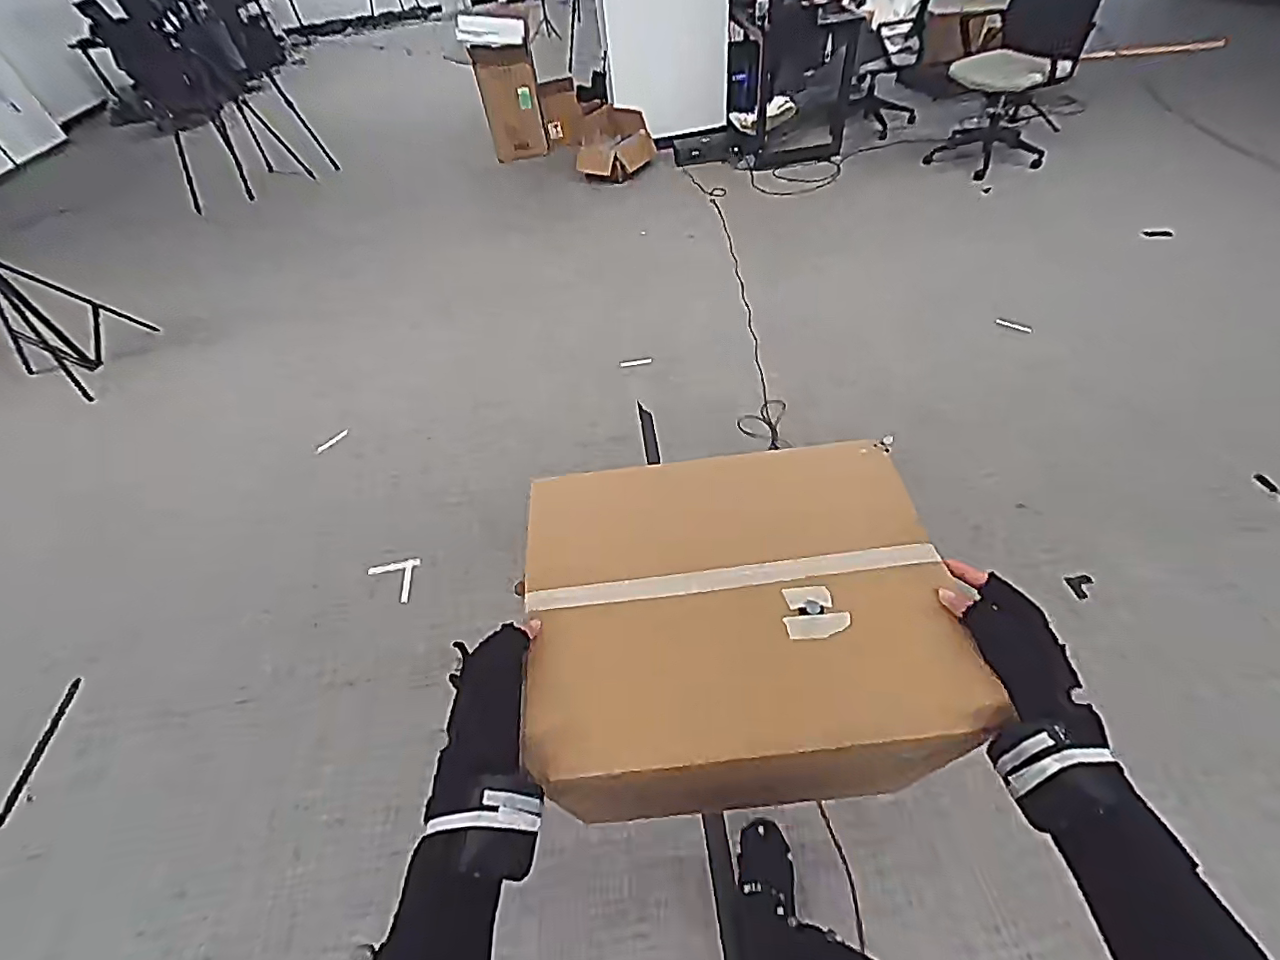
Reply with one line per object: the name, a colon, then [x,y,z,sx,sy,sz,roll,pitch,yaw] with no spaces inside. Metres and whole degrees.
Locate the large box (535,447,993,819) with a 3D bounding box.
large box: [0.101,0.196,0.665,0.408,0.320,0.320,-7,52,0]
